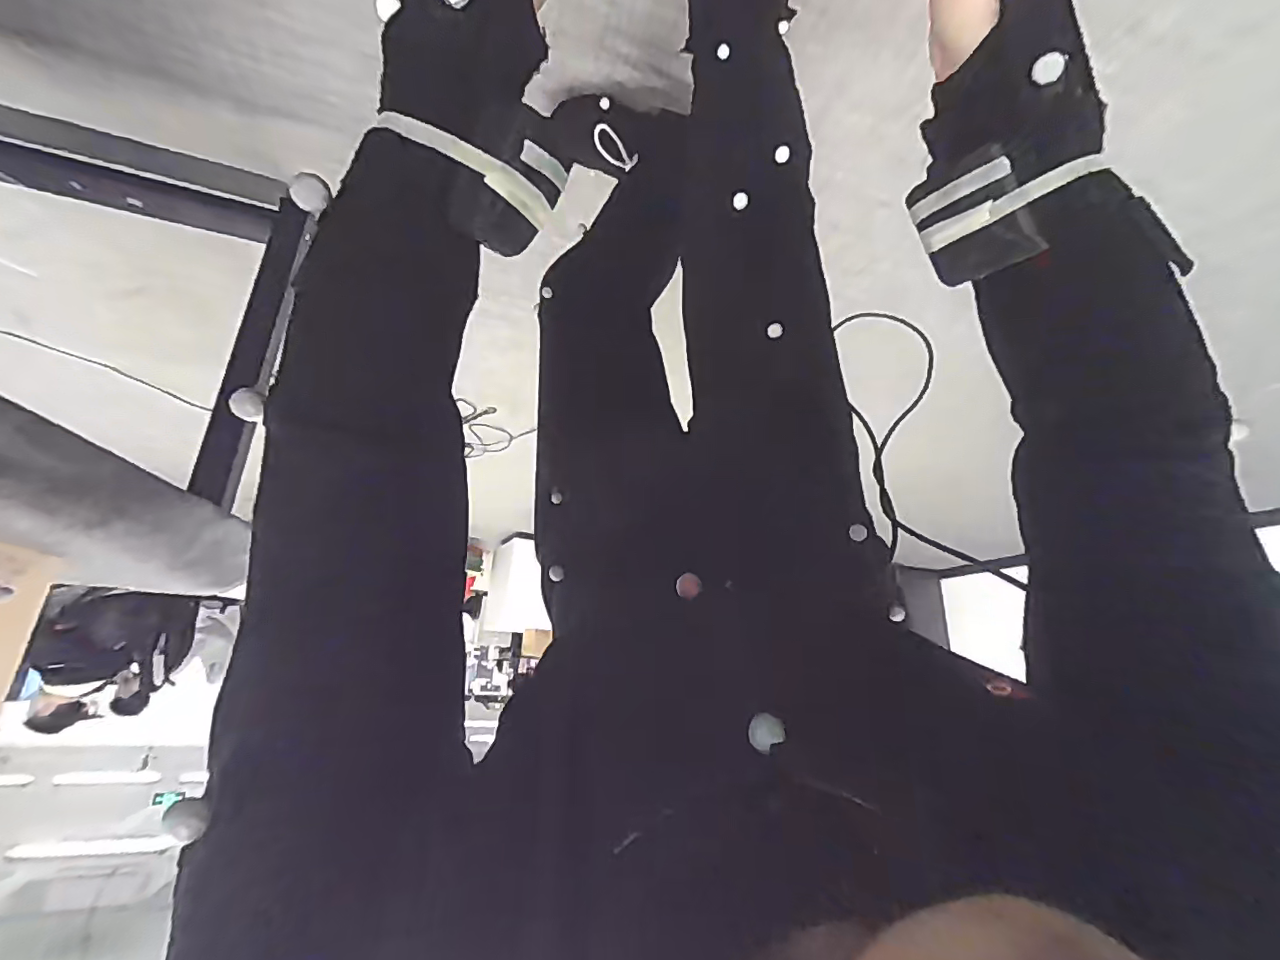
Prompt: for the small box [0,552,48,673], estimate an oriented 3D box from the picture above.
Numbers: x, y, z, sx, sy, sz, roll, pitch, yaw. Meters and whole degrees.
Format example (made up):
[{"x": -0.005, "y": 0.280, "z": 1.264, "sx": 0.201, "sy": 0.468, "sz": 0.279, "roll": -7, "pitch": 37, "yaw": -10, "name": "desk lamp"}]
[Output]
[{"x": -0.687, "y": 0.131, "z": 0.458, "sx": 0.179, "sy": 0.176, "sz": 0.168, "roll": 7, "pitch": 160, "yaw": -16, "name": "small box"}]
